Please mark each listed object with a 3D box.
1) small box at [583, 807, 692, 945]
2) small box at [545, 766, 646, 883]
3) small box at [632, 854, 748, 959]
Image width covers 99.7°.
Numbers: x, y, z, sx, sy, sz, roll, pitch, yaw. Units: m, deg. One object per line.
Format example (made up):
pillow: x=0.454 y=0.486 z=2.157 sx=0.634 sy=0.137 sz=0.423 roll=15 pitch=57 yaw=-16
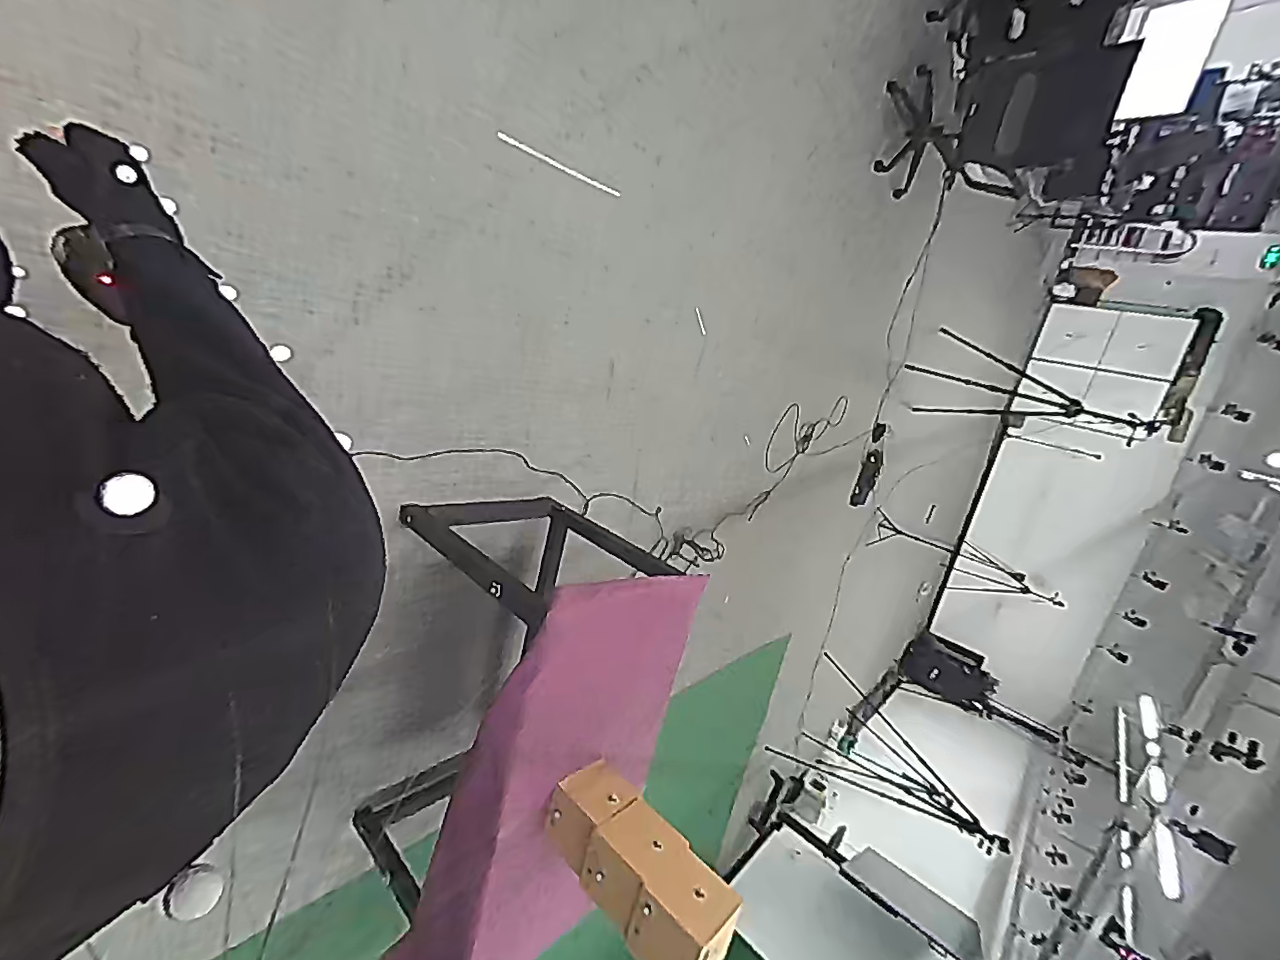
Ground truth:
small box: x=-0.007 y=0.936 z=1.302 sx=0.179 sy=0.176 sz=0.168 roll=2 pitch=105 yaw=-50
small box: x=-0.117 y=0.891 z=1.415 sx=0.179 sy=0.176 sz=0.168 roll=5 pitch=104 yaw=-50
small box: x=0.107 y=0.989 z=1.195 sx=0.179 sy=0.176 sz=0.168 roll=3 pitch=105 yaw=-51
